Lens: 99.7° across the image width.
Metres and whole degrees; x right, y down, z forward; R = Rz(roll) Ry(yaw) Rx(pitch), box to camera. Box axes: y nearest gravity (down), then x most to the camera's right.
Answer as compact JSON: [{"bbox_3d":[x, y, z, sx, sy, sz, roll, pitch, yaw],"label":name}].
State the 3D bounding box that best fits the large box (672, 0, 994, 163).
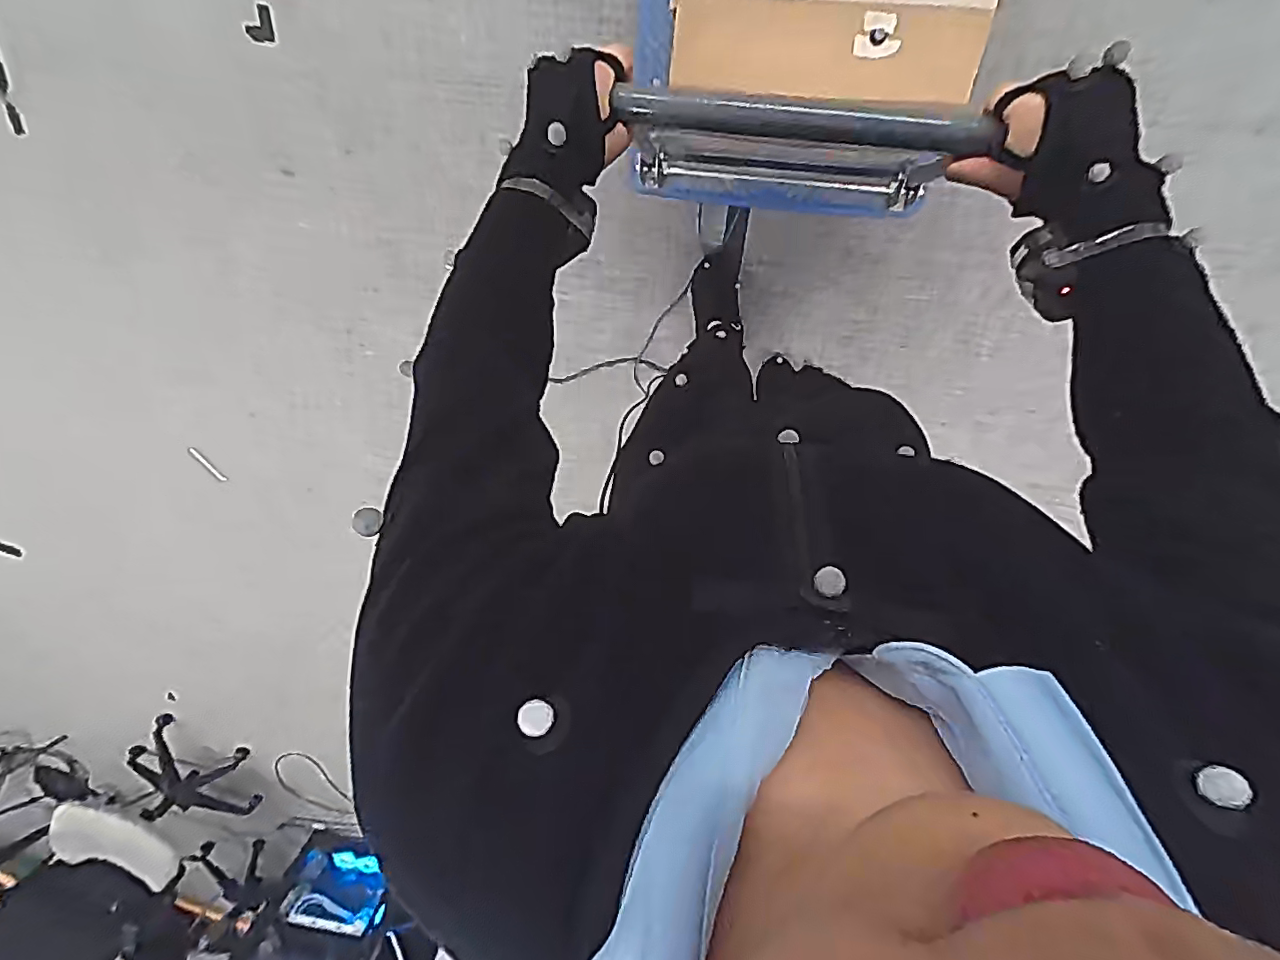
[{"bbox_3d":[0.267,-0.690,0.829,0.408,0.320,0.320,8,117,4],"label":"large box"}]
